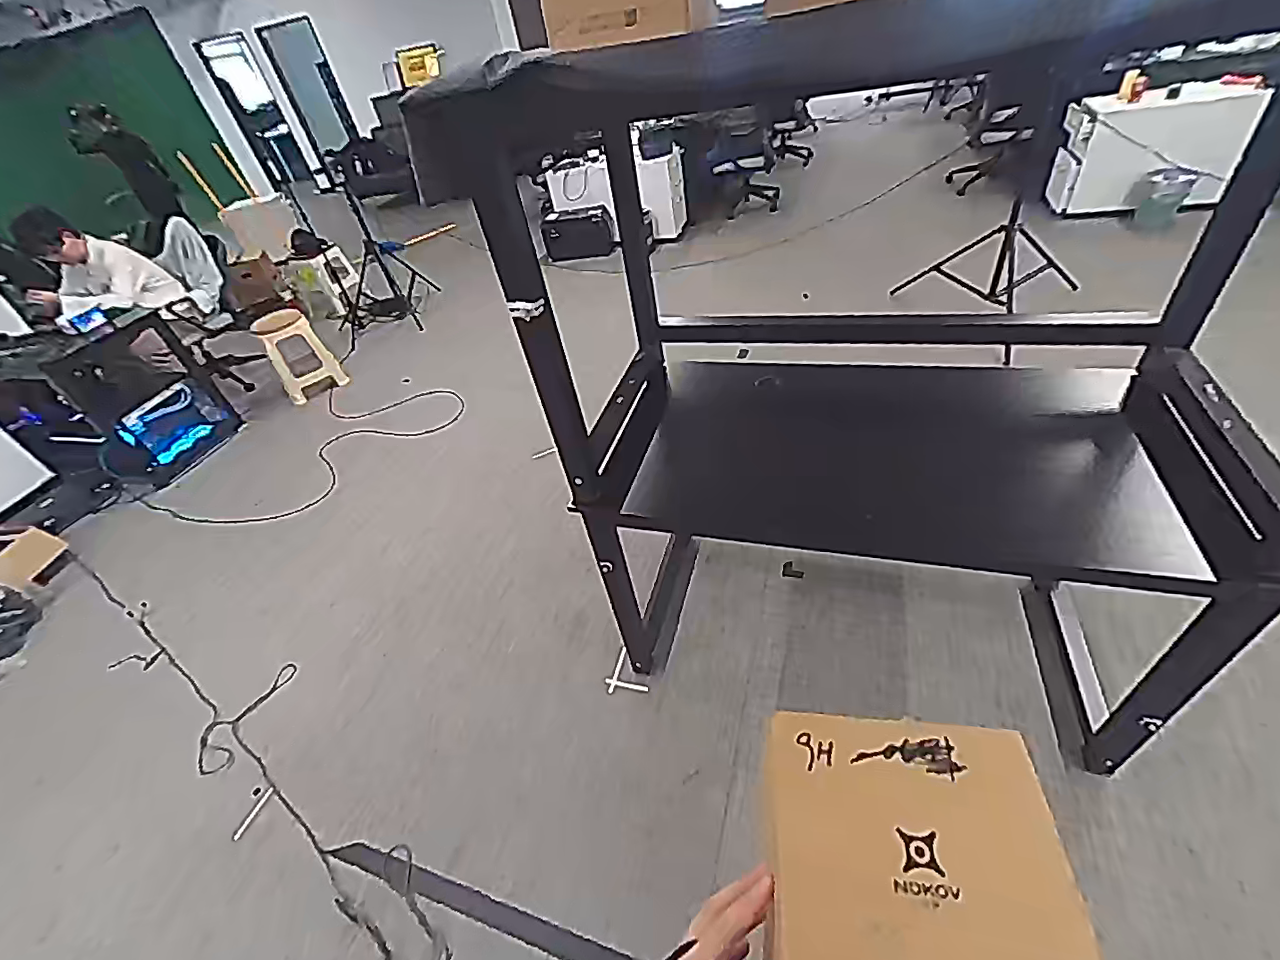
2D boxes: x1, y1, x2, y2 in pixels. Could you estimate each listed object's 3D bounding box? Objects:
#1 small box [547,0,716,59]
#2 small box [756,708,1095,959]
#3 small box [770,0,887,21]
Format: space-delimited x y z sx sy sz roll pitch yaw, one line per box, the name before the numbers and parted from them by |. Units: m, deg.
small box | -0.009 -0.600 0.618 0.168 0.176 0.179 6 41 18
small box | 0.170 0.283 0.372 0.168 0.176 0.179 2 46 9
small box | 0.226 -0.596 0.556 0.168 0.176 0.179 6 41 20
